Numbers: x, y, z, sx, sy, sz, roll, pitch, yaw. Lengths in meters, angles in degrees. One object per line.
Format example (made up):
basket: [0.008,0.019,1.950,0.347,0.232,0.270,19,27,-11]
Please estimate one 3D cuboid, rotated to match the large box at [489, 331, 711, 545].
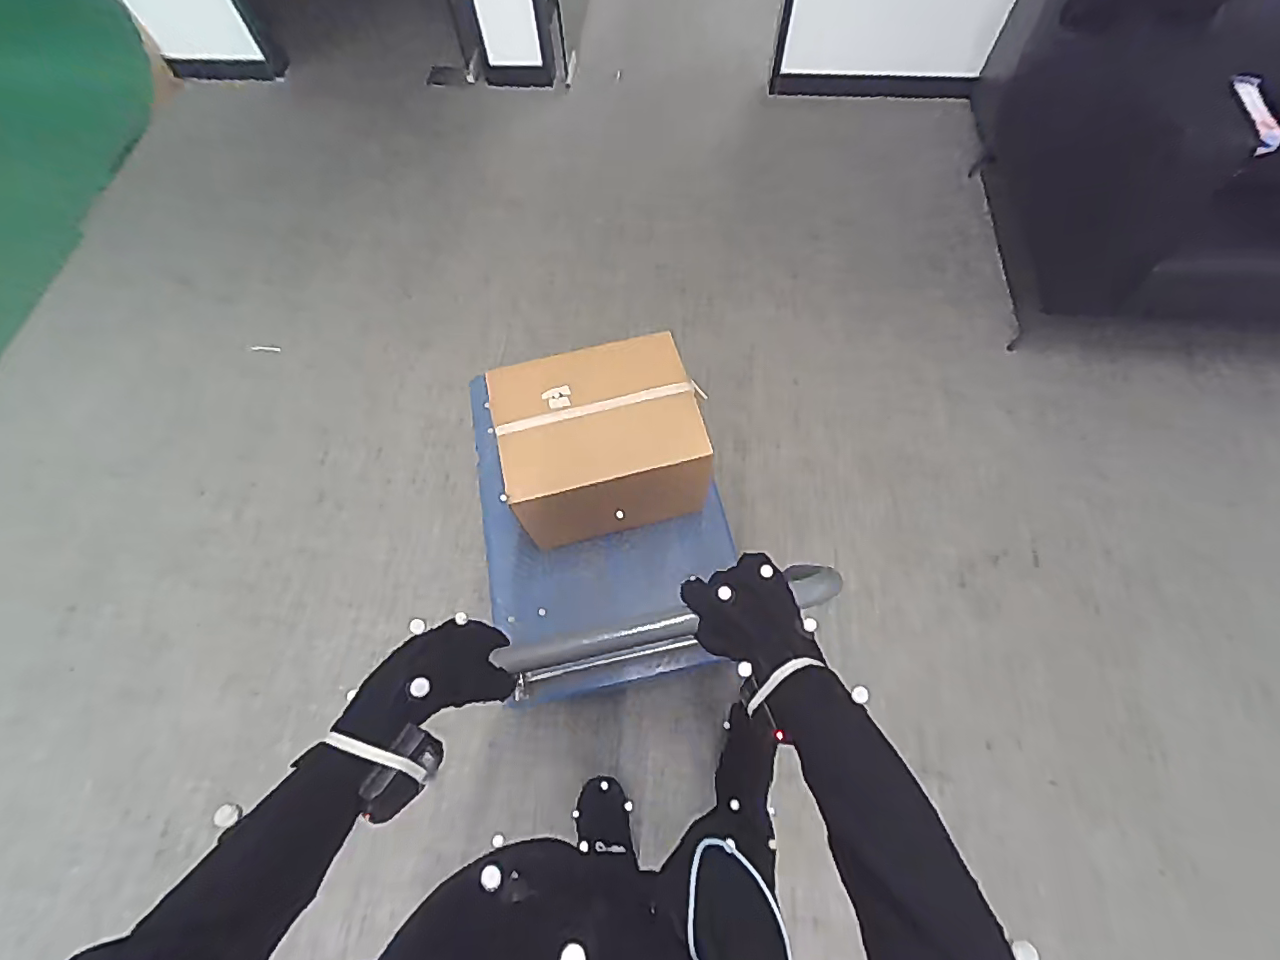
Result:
large box: [-0.083,-0.082,1.236,0.408,0.320,0.320,-15,66,-4]
